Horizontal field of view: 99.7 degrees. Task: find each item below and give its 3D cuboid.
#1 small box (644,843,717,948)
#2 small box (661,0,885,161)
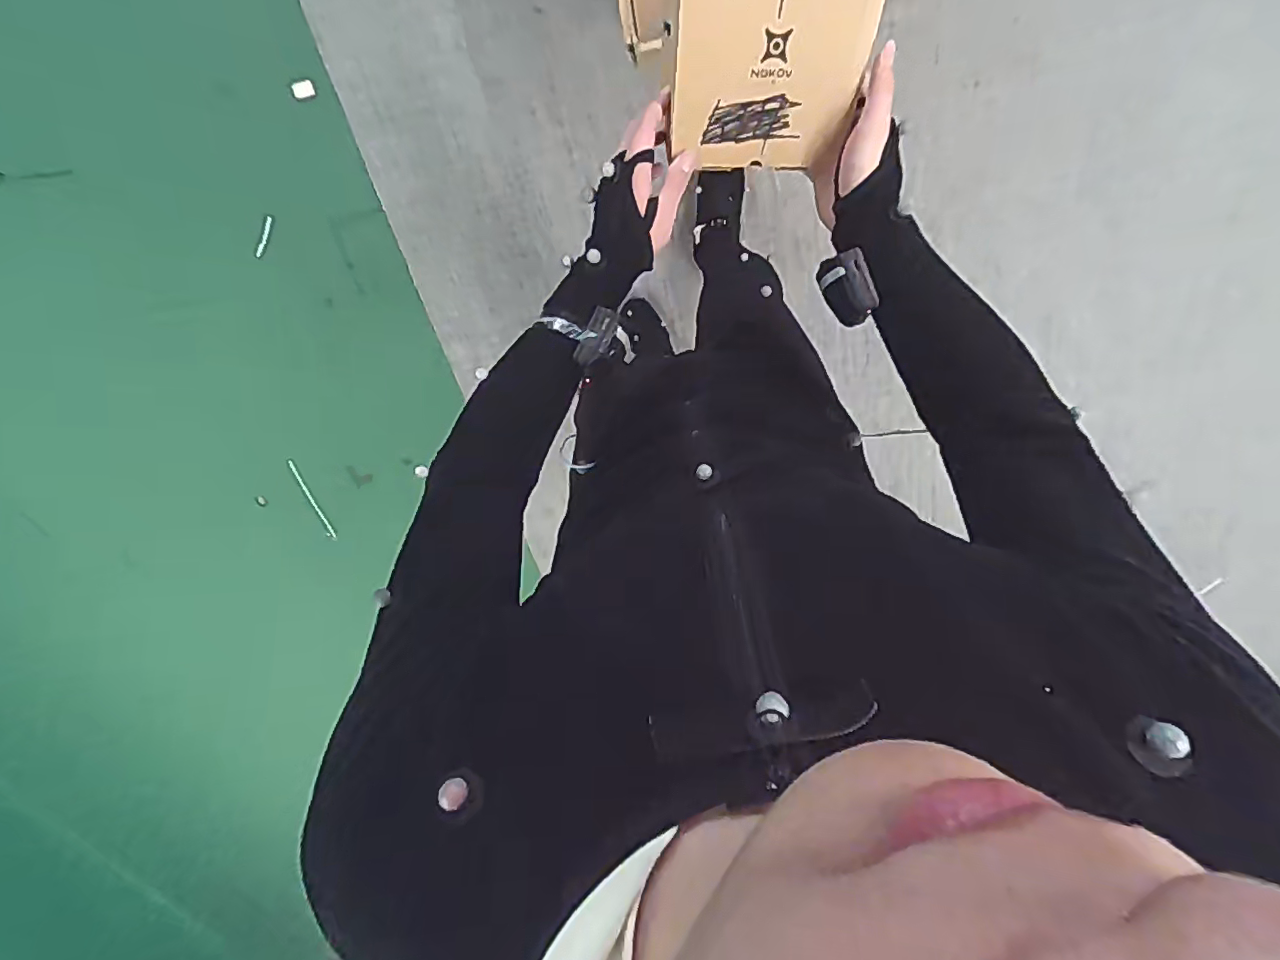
[{"bbox_3d":[0.106,1.065,1.394,0.179,0.176,0.168,-3,119,4],"label":"small box"},{"bbox_3d":[0.108,-0.420,0.494,0.168,0.176,0.179,-1,140,-2],"label":"small box"}]
